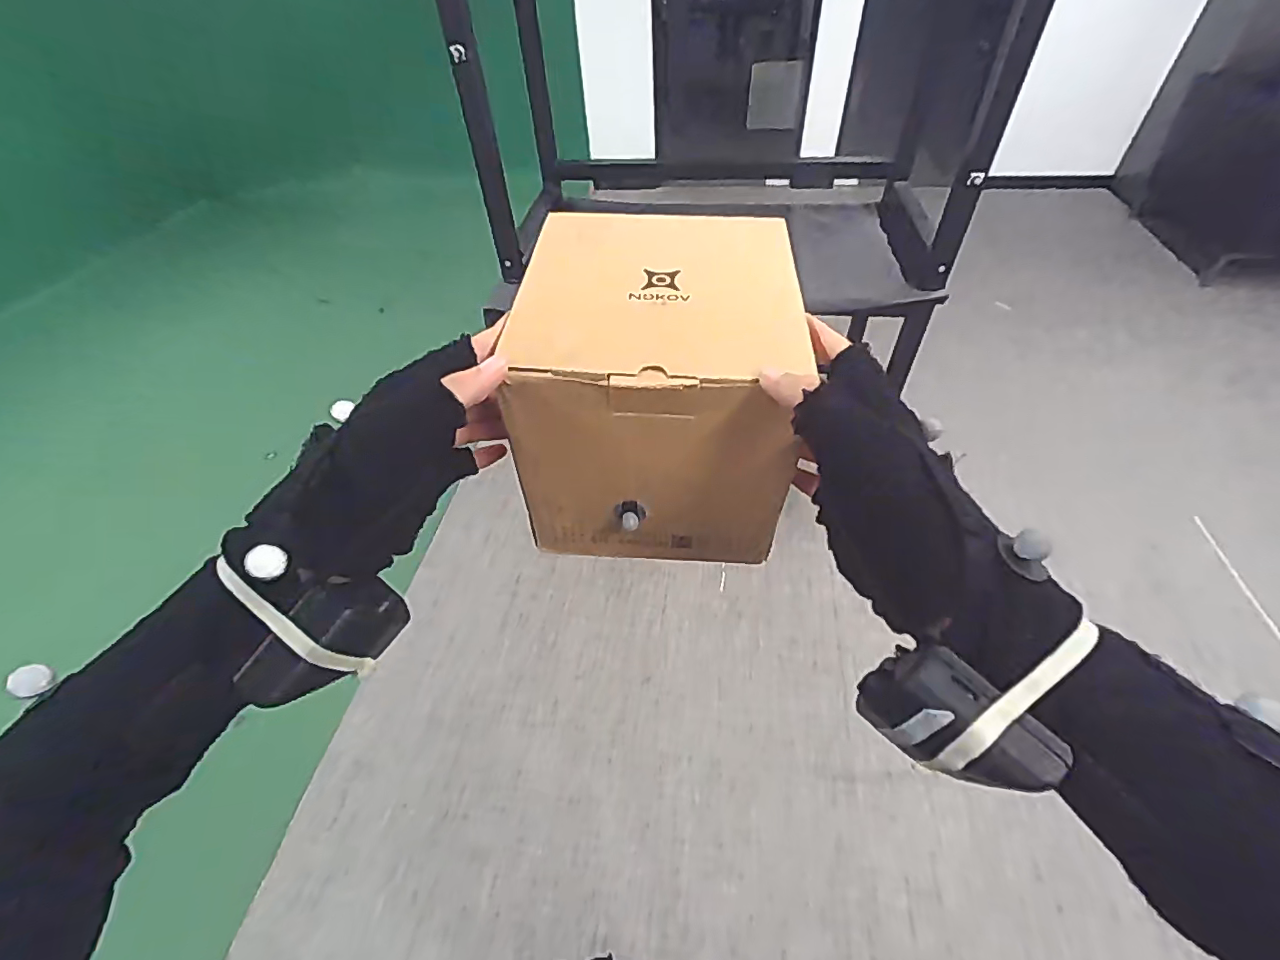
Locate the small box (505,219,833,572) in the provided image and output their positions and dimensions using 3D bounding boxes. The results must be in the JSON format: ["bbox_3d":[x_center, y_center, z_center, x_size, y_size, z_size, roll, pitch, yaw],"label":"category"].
[{"bbox_3d":[0.018,-0.058,0.379,0.168,0.176,0.179,3,50,2],"label":"small box"}]
